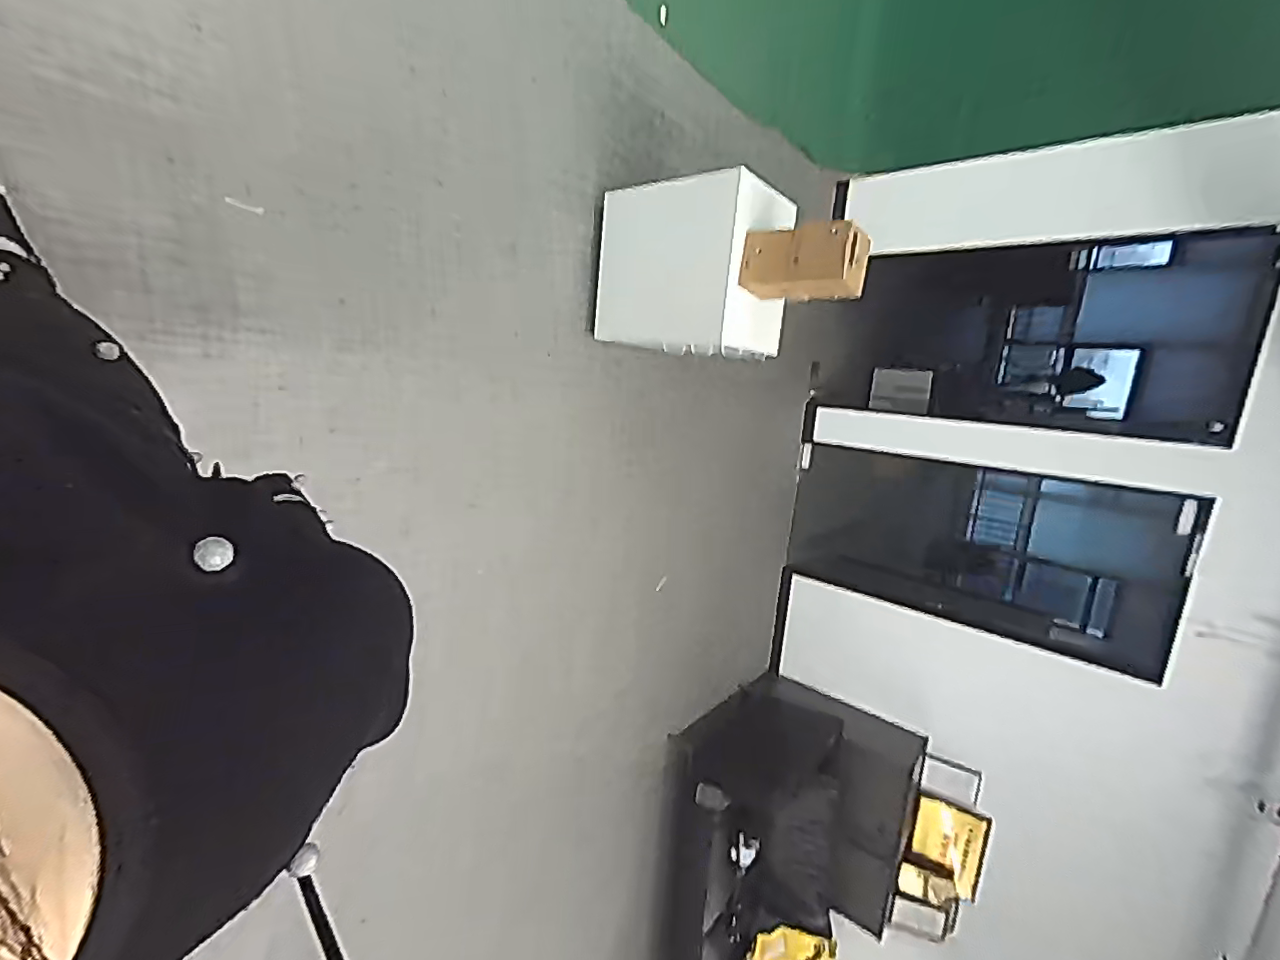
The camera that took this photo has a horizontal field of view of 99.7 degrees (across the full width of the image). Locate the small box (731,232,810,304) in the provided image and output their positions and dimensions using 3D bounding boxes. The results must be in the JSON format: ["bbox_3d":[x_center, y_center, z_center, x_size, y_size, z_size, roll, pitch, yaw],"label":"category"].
[{"bbox_3d":[0.410,-0.665,1.704,0.179,0.176,0.168,3,99,-53],"label":"small box"}]
